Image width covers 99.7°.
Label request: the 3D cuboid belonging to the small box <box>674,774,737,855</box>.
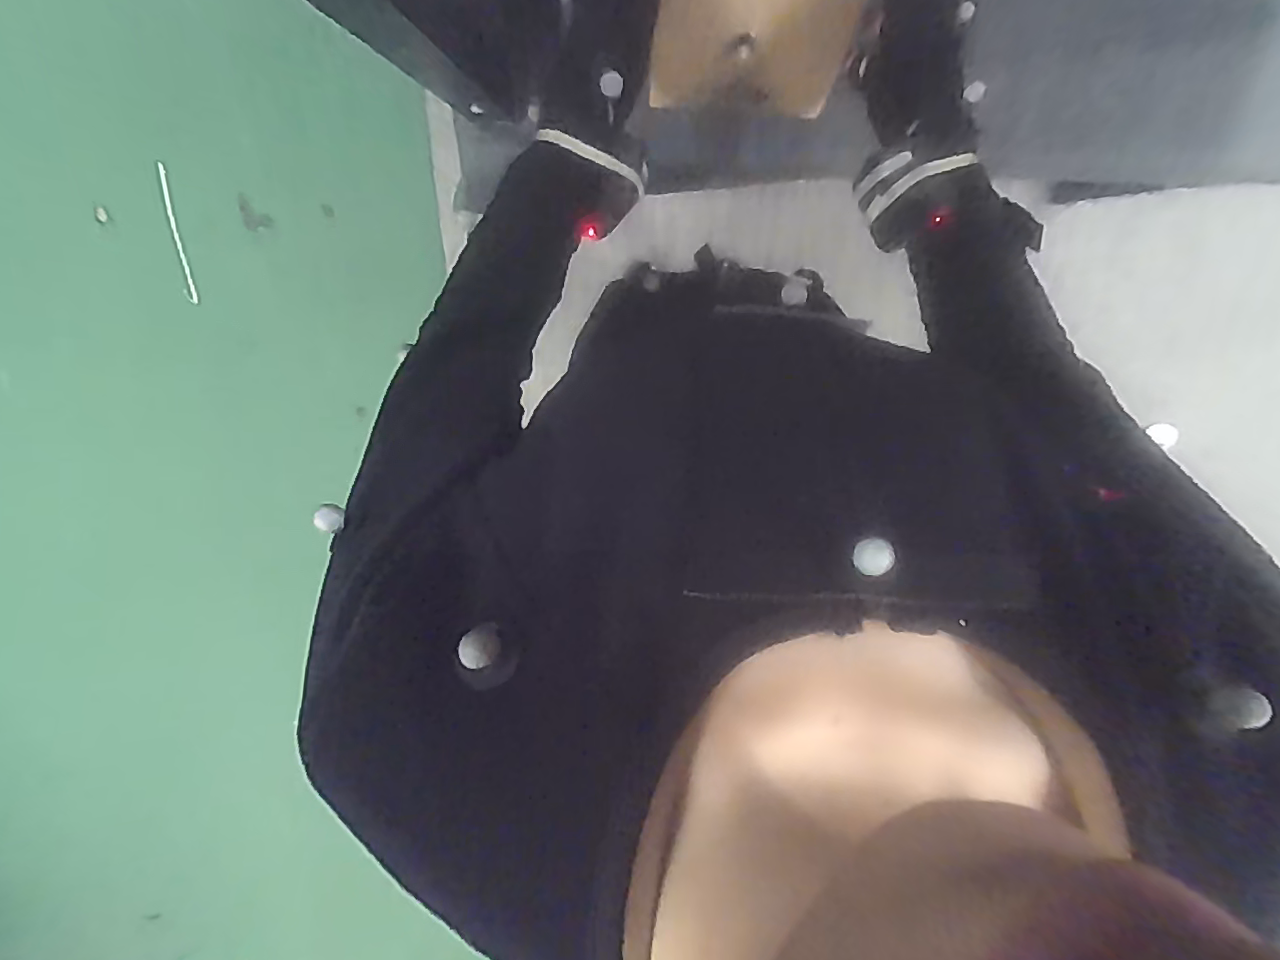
[{"bbox_3d":[0.226,1.179,1.916,0.179,0.176,0.168,16,111,-3],"label":"small box"}]

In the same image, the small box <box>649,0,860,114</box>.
[{"bbox_3d":[0.096,-0.447,0.452,0.168,0.176,0.179,4,87,-1],"label":"small box"}]
